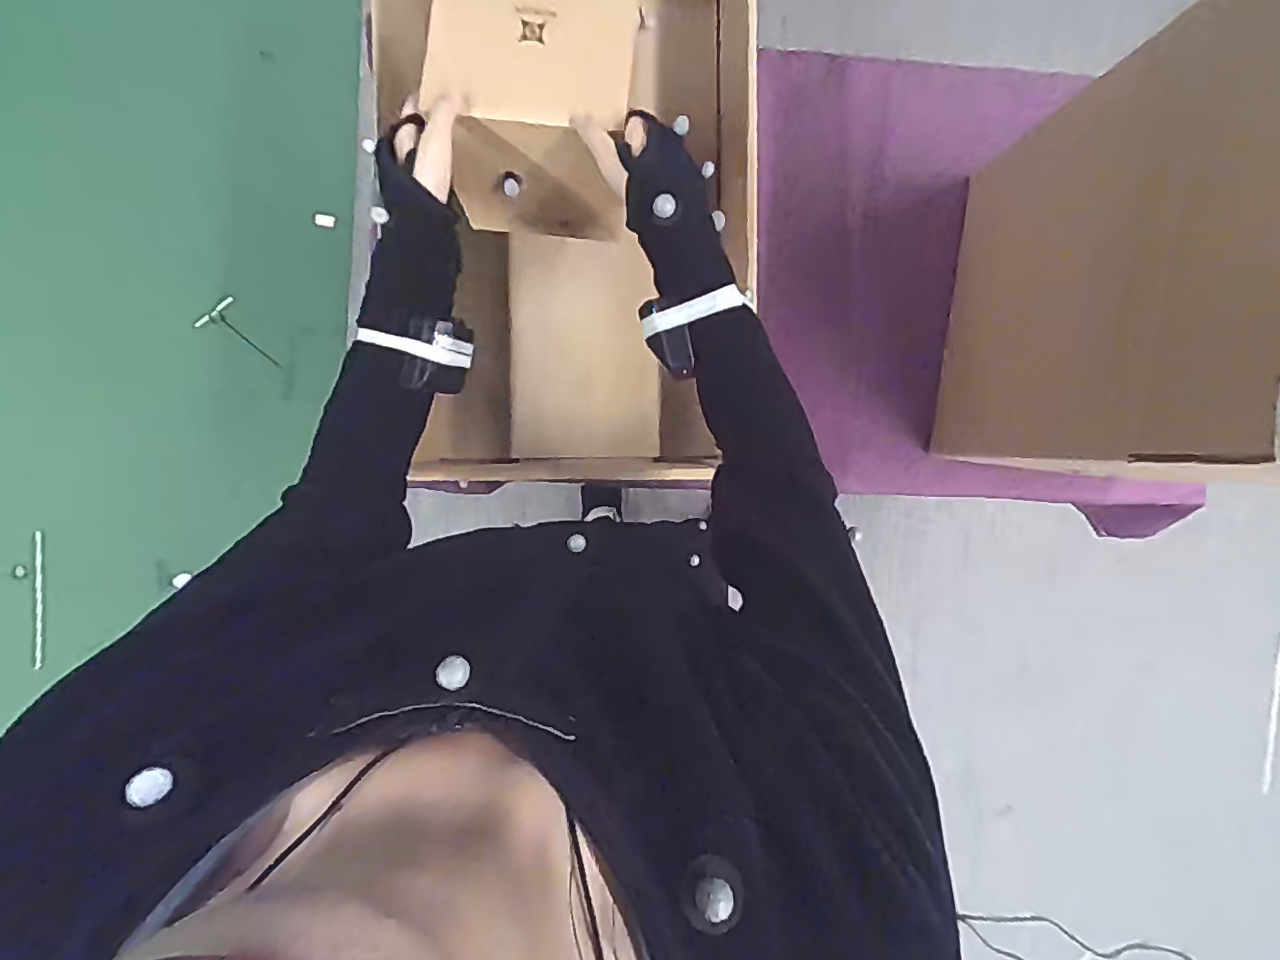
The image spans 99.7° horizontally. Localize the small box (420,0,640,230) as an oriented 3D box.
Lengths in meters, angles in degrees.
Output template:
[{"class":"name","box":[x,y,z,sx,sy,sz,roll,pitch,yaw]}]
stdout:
[{"class":"small box","box":[-0.088,-0.364,0.511,0.168,0.176,0.179,5,85,-2]}]
